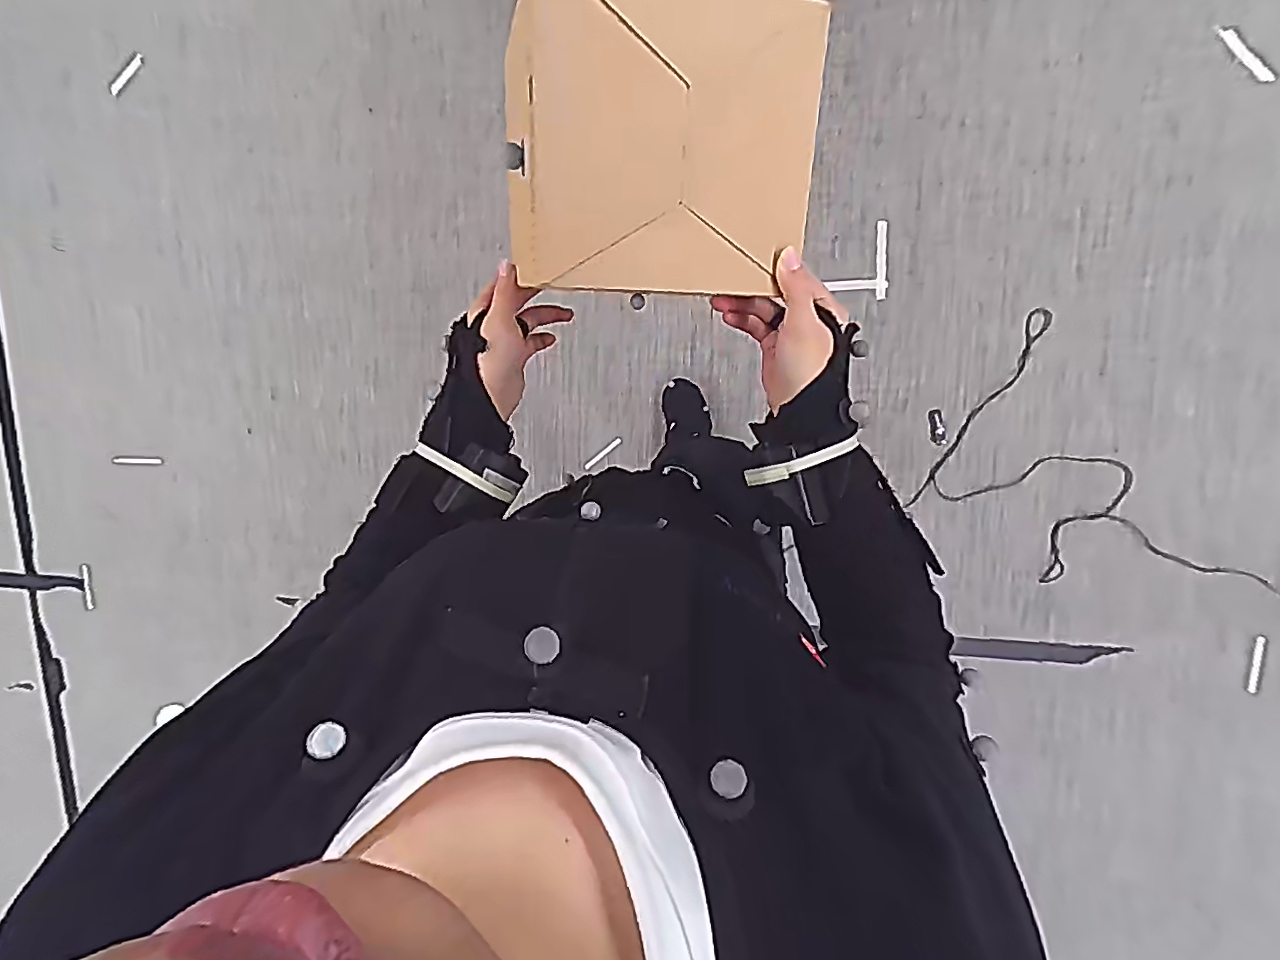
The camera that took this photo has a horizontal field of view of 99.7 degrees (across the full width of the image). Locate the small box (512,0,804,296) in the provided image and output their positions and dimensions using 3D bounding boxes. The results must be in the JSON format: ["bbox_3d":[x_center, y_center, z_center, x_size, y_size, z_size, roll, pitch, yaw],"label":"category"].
[{"bbox_3d":[0.004,-0.227,0.401,0.179,0.176,0.168,-4,109,-18],"label":"small box"}]
